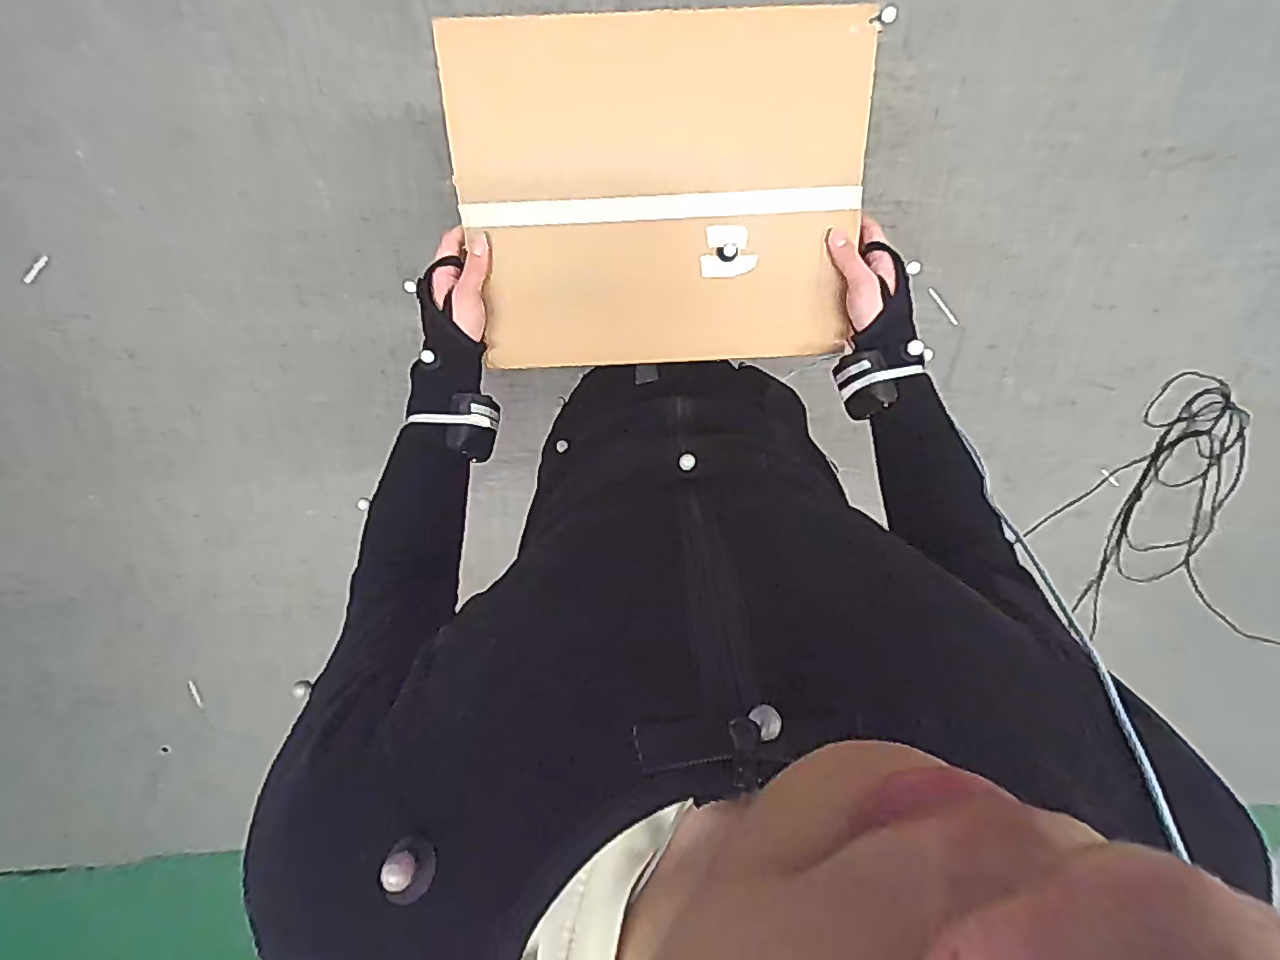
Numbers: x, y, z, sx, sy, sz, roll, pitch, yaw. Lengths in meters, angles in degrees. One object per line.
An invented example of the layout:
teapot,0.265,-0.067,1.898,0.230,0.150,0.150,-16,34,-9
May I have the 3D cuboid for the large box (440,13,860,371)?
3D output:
large box,0.012,-0.337,0.698,0.408,0.320,0.320,-4,114,-1
